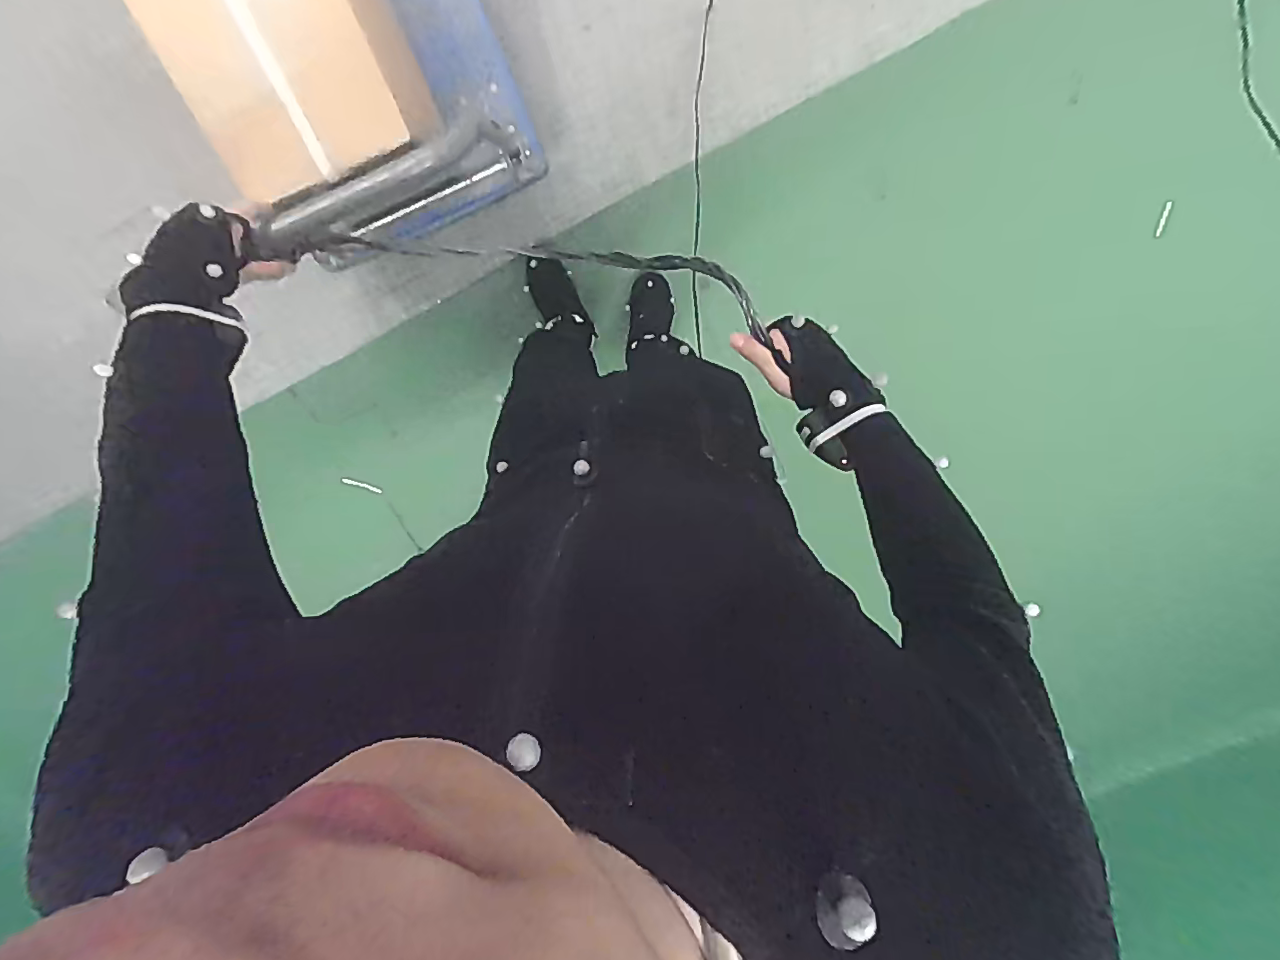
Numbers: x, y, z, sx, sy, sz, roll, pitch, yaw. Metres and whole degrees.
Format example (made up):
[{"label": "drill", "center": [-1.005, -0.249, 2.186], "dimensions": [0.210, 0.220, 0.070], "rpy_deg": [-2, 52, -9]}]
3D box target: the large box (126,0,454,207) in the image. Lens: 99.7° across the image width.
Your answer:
[{"label": "large box", "center": [-0.597, -0.752, 0.959], "dimensions": [0.320, 0.320, 0.408], "rpy_deg": [-19, 115, 5]}]
